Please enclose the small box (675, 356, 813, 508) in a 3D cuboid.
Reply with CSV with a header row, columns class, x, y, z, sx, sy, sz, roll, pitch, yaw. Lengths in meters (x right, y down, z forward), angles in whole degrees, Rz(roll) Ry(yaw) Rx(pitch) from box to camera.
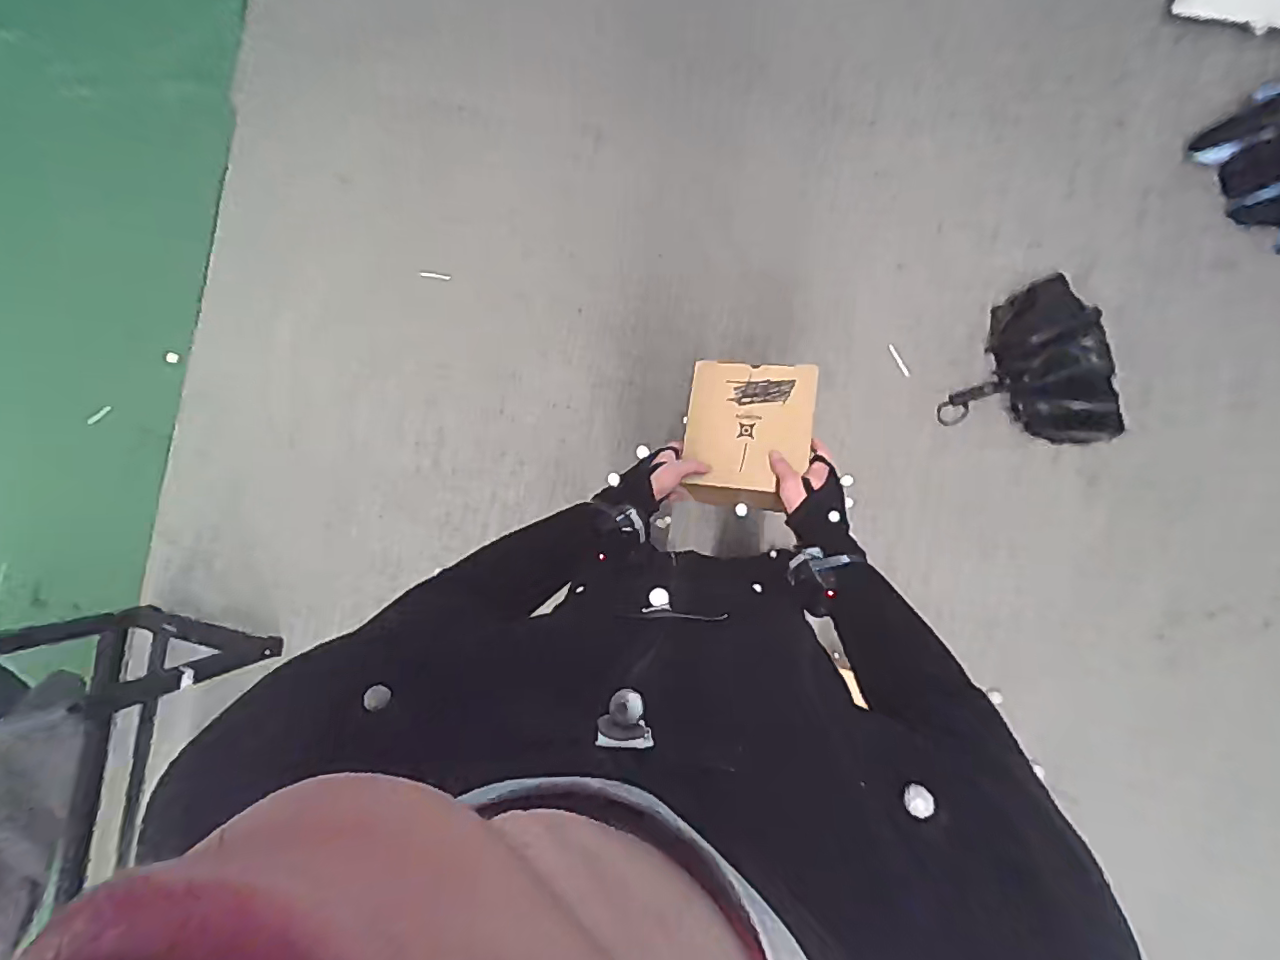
class,x,y,z,sx,sy,sz,roll,pitch,yaw
small box,0.155,-0.064,0.785,0.168,0.176,0.179,4,80,17
